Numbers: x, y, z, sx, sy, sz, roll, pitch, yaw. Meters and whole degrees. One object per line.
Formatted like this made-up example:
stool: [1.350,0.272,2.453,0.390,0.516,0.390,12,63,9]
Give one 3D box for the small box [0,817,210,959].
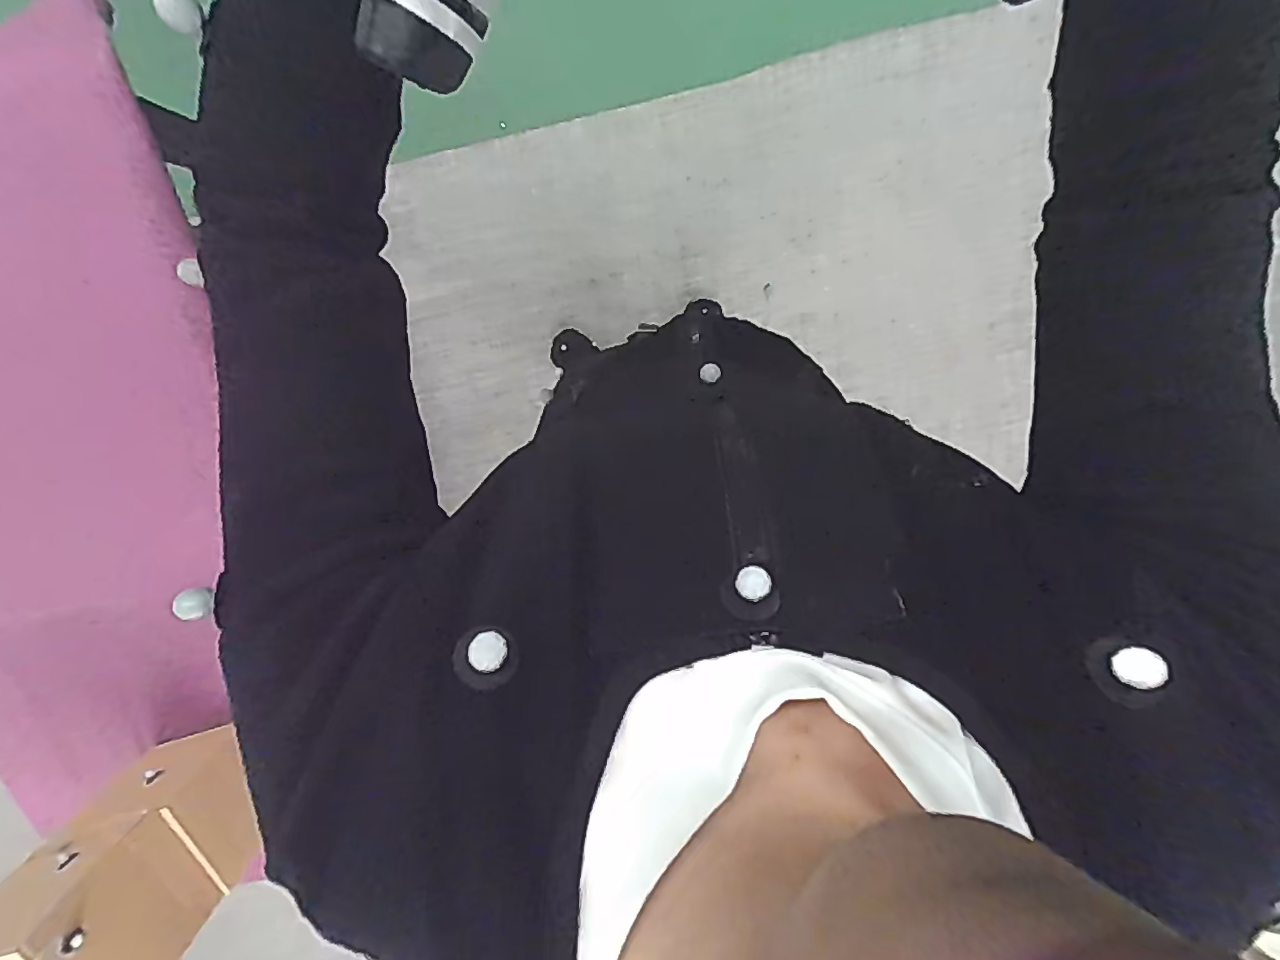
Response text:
small box: [-0.673,0.547,0.638,0.168,0.176,0.179,-19,105,5]
